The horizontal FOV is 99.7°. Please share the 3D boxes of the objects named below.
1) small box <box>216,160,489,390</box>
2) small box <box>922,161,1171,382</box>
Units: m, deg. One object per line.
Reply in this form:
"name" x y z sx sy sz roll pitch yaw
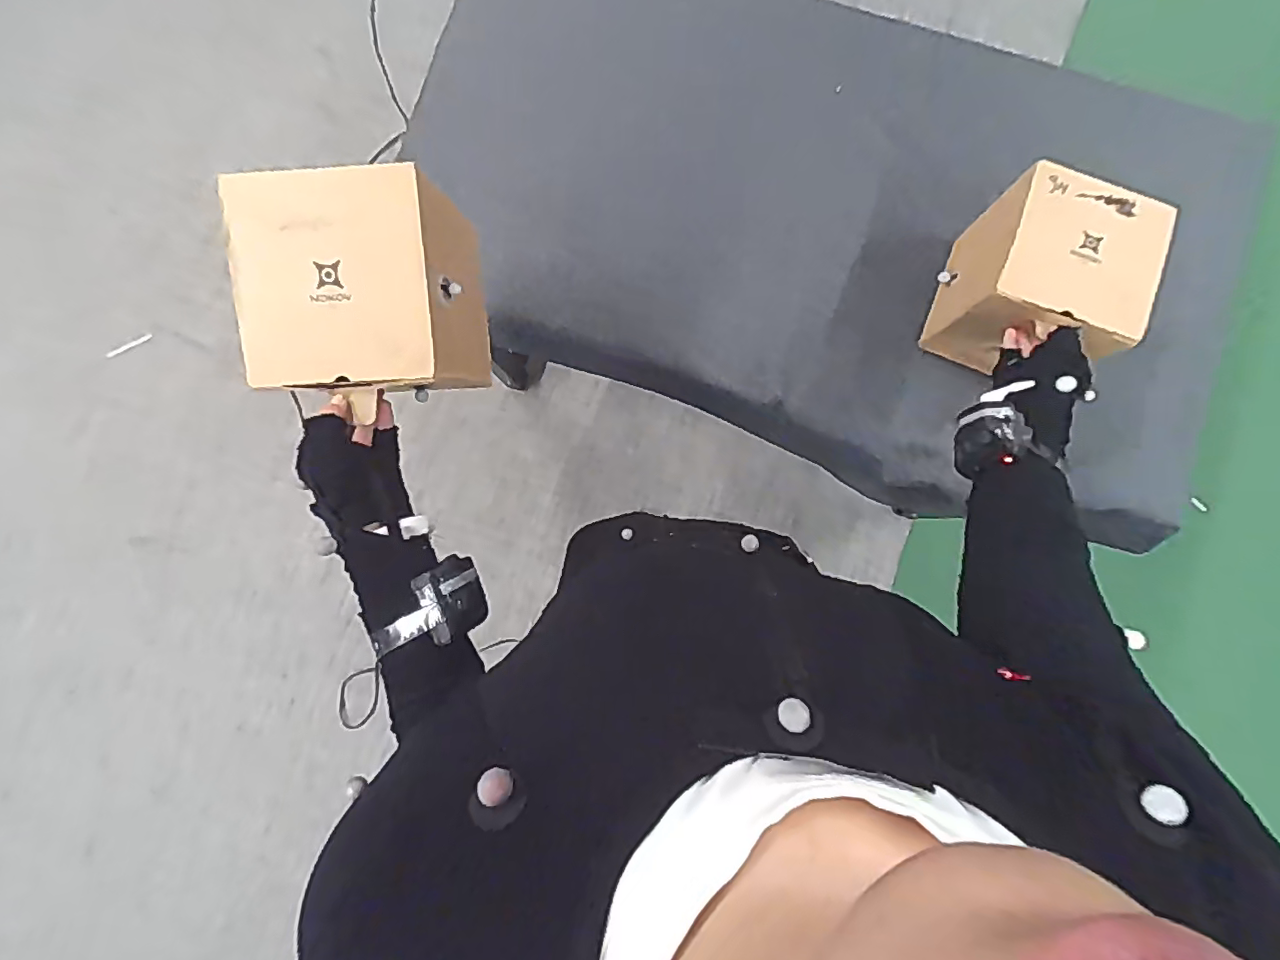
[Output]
"small box" -0.254 -0.178 0.524 0.168 0.176 0.179 -3 98 1
"small box" 0.491 -0.245 0.682 0.168 0.176 0.179 22 83 1
